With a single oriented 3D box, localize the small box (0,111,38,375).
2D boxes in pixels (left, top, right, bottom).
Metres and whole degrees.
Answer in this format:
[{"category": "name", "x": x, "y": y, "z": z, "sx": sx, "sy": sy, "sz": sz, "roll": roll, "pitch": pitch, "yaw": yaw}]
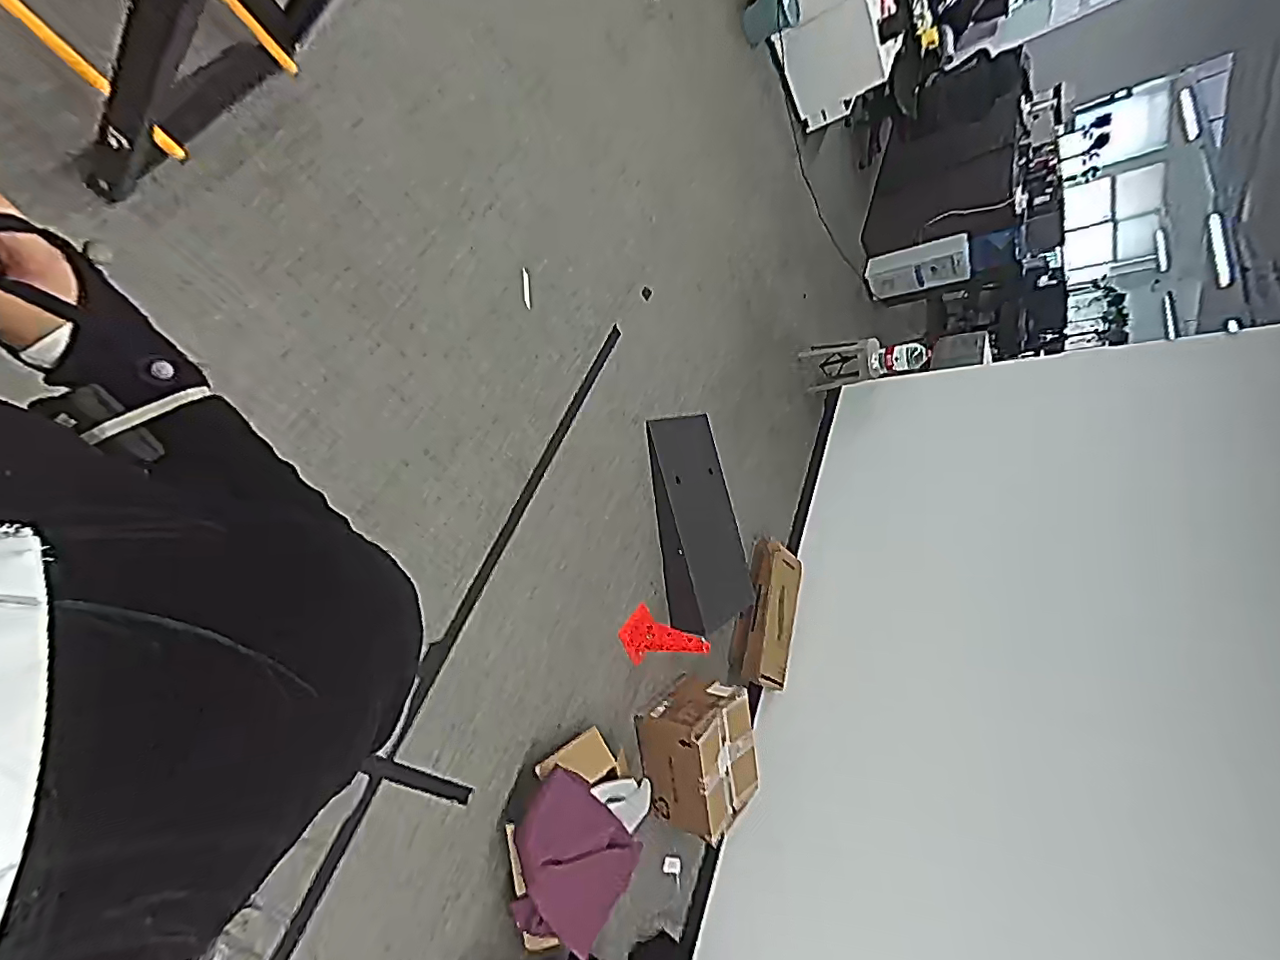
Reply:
[{"category": "small box", "x": -0.393, "y": -0.149, "z": 0.218, "sx": 0.168, "sy": 0.176, "sz": 0.179, "roll": -18, "pitch": 89, "yaw": -52}]
